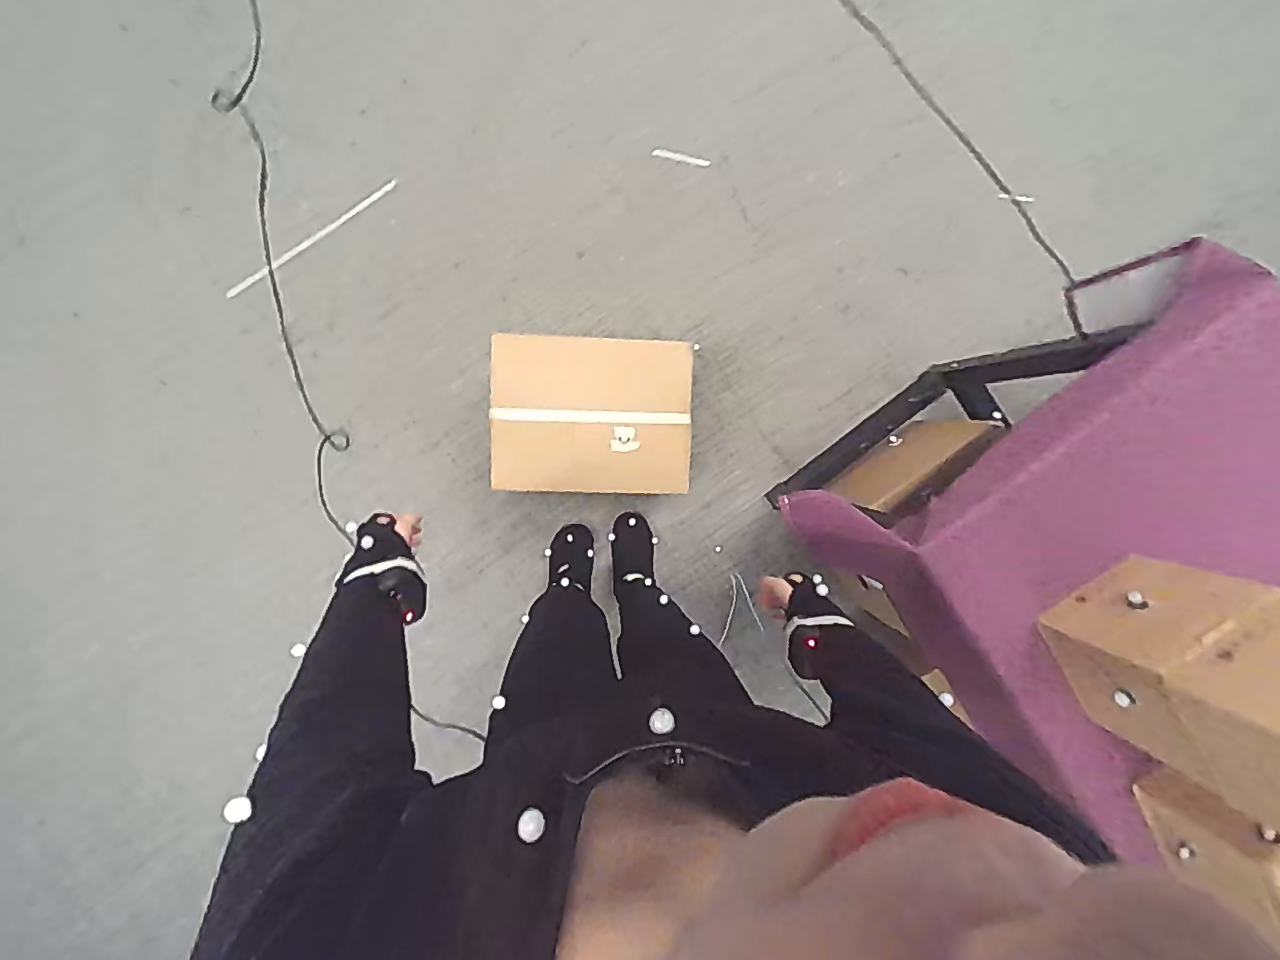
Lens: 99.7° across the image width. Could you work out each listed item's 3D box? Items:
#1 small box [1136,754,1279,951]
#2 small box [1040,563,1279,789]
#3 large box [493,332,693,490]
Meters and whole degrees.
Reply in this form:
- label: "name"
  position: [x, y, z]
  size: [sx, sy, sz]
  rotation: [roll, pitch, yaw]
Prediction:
- label: "small box"
  position: [0.818, 0.462, 0.700]
  size: [0.179, 0.176, 0.168]
  rotation: [-29, 97, -1]
- label: "small box"
  position: [0.650, 0.218, 0.662]
  size: [0.168, 0.176, 0.179]
  rotation: [-33, 96, 0]
- label: "large box"
  position: [-0.107, -0.148, 1.235]
  size: [0.408, 0.320, 0.320]
  rotation: [1, 96, -6]
